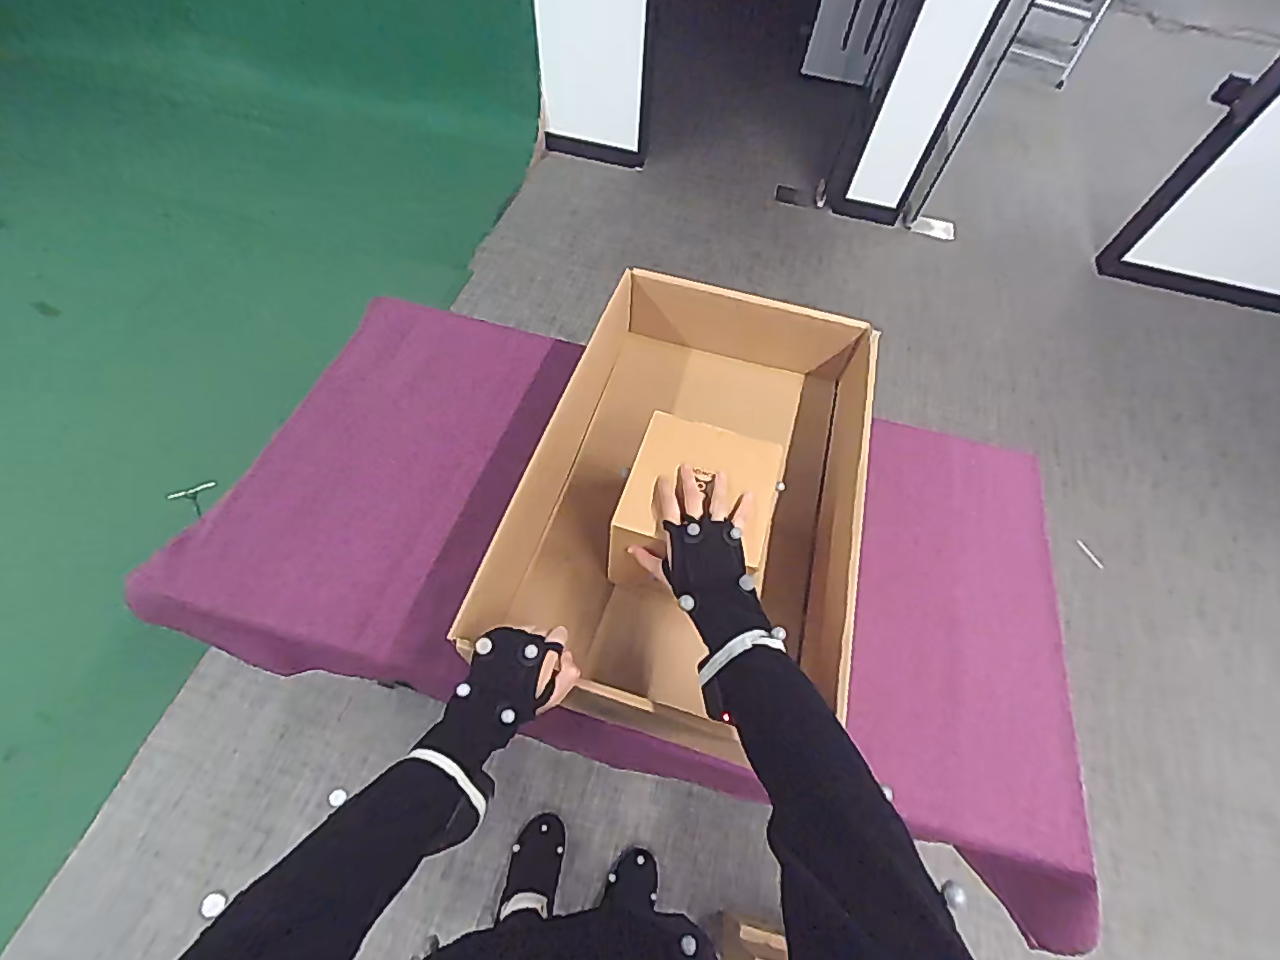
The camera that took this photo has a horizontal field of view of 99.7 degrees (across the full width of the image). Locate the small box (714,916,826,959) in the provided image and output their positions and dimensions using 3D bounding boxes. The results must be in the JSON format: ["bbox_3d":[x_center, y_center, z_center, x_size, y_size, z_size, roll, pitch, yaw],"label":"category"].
[{"bbox_3d":[0.242,0.982,1.052,0.179,0.176,0.168,14,59,5],"label":"small box"}]

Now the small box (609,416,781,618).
[{"bbox_3d":[0.066,0.053,0.689,0.168,0.176,0.179,16,56,7],"label":"small box"}]
